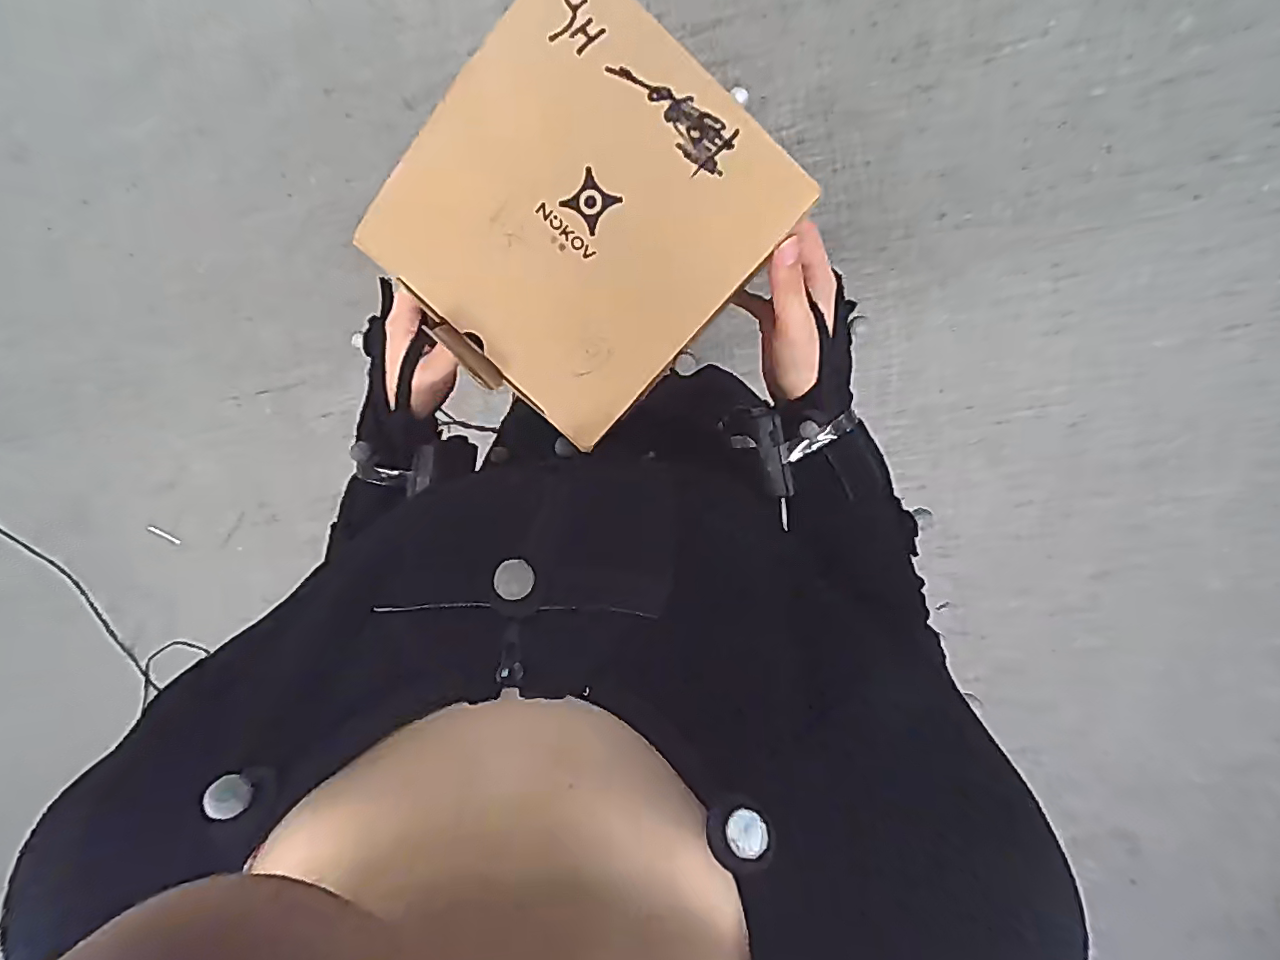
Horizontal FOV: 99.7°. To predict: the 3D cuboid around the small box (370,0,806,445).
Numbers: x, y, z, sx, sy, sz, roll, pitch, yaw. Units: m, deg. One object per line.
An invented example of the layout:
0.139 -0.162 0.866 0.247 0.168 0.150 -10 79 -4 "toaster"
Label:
-0.024 -0.149 0.356 0.168 0.176 0.179 43 102 -5 "small box"
